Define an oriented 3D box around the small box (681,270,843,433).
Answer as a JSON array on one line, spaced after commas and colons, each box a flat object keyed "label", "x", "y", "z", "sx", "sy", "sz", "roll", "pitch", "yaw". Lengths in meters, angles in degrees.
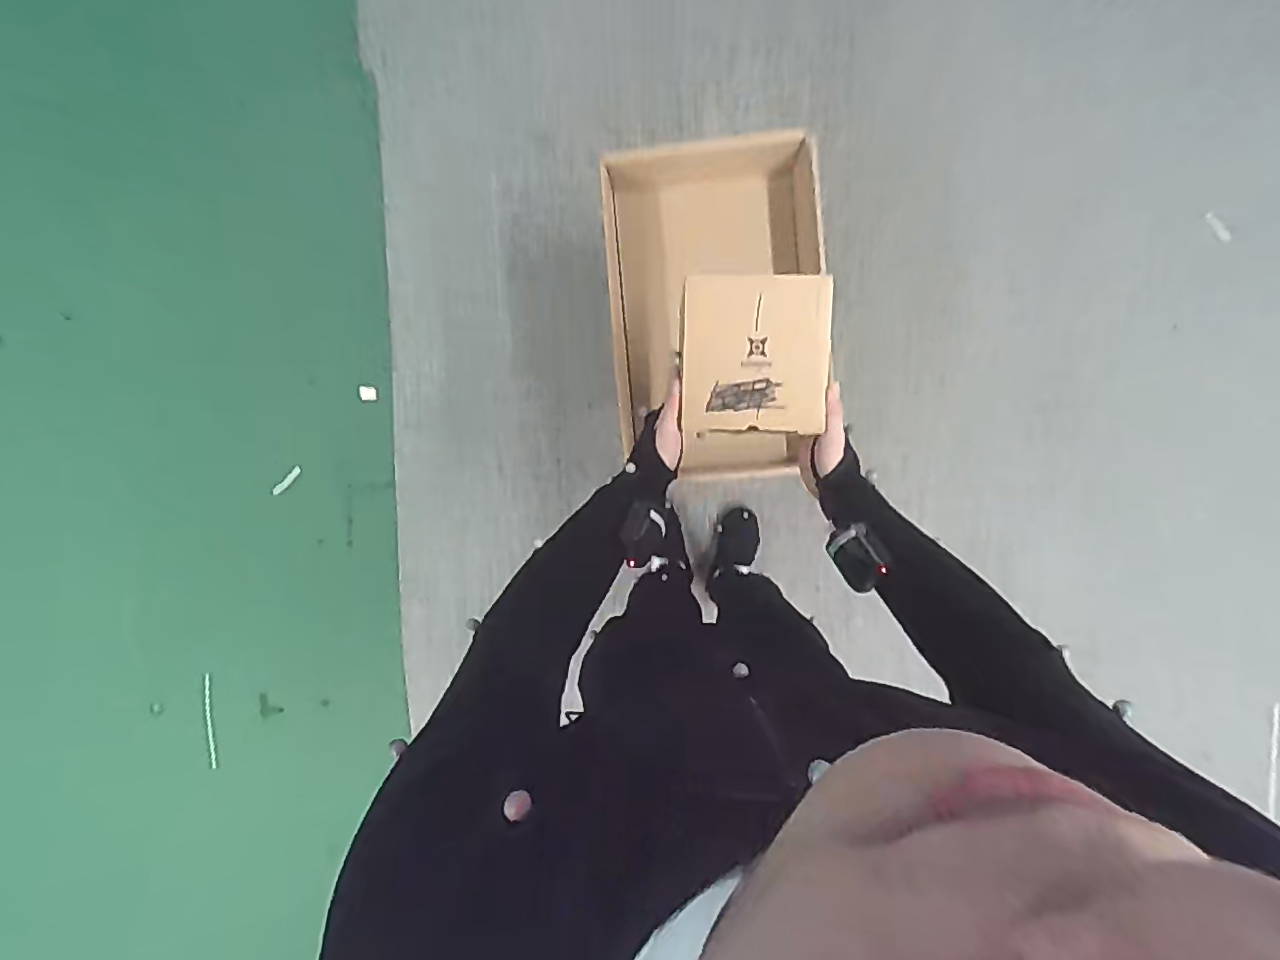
[{"label": "small box", "x": 0.139, "y": -0.151, "z": 0.673, "sx": 0.168, "sy": 0.176, "sz": 0.179, "roll": 1, "pitch": 97, "yaw": 2}]
